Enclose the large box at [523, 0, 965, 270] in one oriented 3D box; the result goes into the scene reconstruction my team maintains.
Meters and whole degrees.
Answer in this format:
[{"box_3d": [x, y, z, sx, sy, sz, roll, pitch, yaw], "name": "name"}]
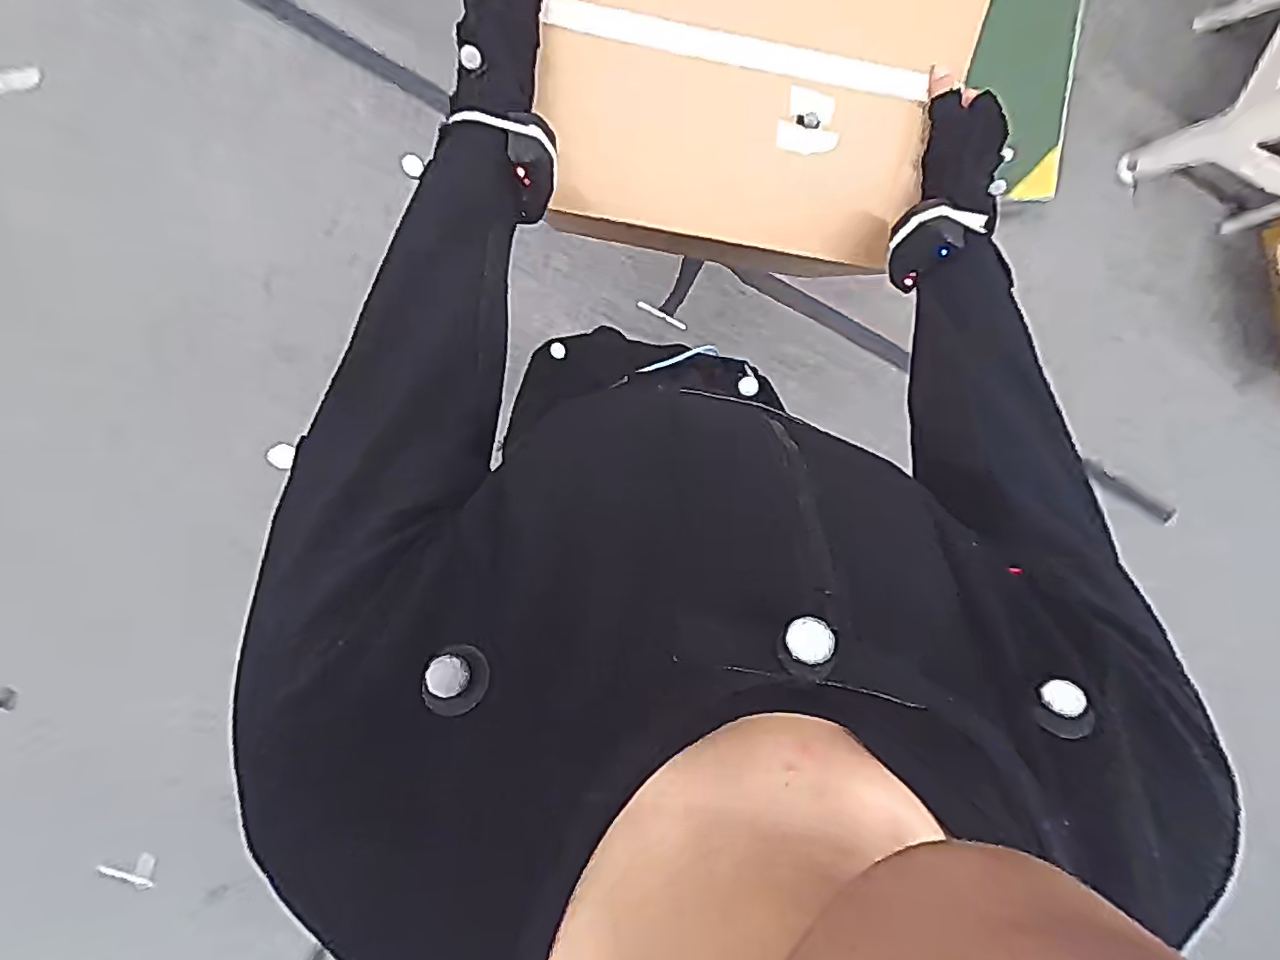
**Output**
[{"box_3d": [0.087, -0.444, 0.650, 0.408, 0.320, 0.320, 7, 111, -6], "name": "large box"}]
